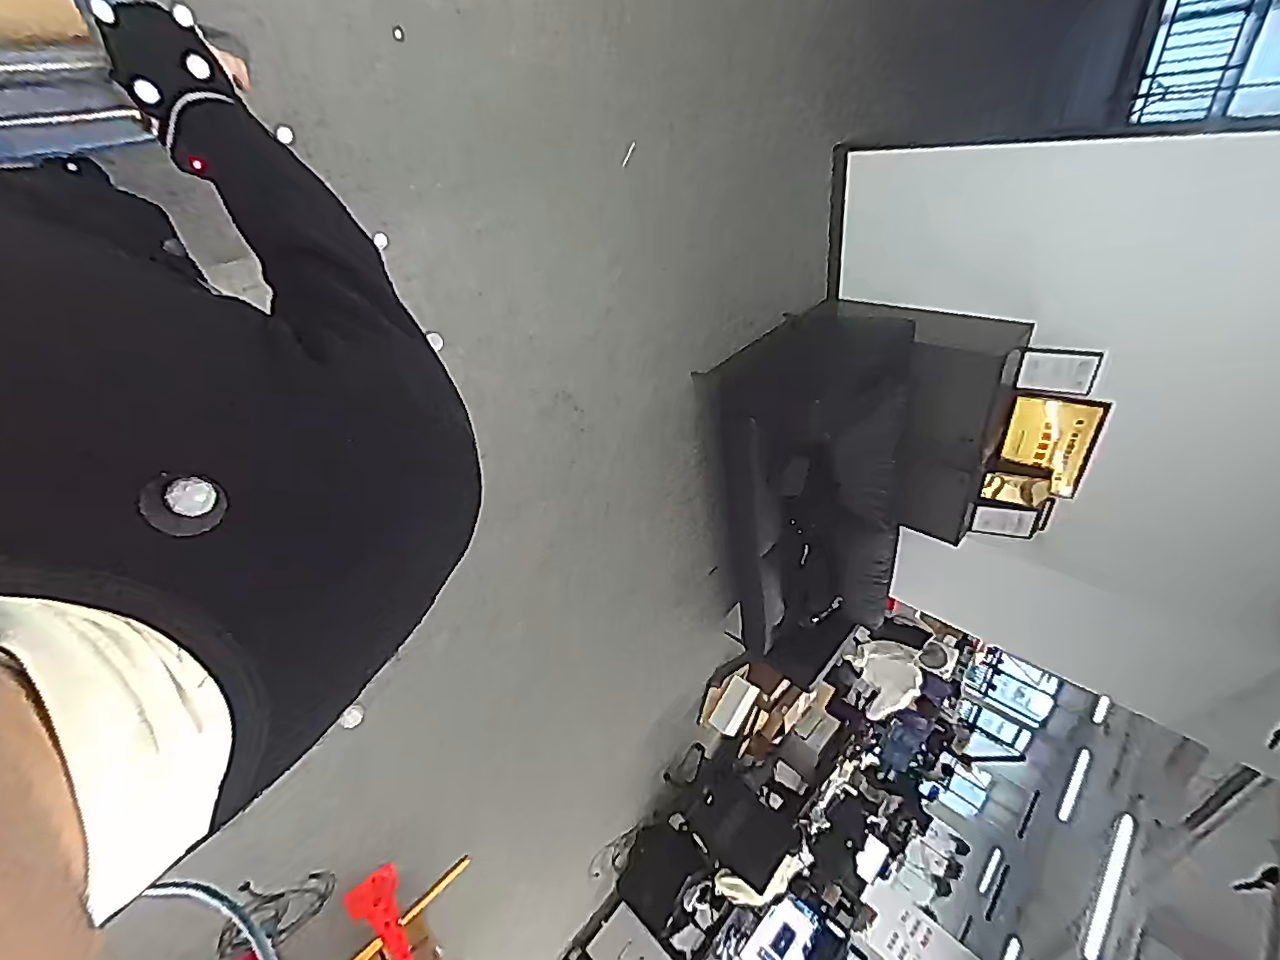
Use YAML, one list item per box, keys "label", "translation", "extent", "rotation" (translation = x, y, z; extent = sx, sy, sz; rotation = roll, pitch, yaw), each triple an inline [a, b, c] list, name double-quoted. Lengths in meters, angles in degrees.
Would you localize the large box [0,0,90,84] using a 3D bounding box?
- label: "large box"
  translation: [-0.984, -0.727, 0.644]
  extent: [0.320, 0.320, 0.408]
  rotation: [-35, 132, -33]
